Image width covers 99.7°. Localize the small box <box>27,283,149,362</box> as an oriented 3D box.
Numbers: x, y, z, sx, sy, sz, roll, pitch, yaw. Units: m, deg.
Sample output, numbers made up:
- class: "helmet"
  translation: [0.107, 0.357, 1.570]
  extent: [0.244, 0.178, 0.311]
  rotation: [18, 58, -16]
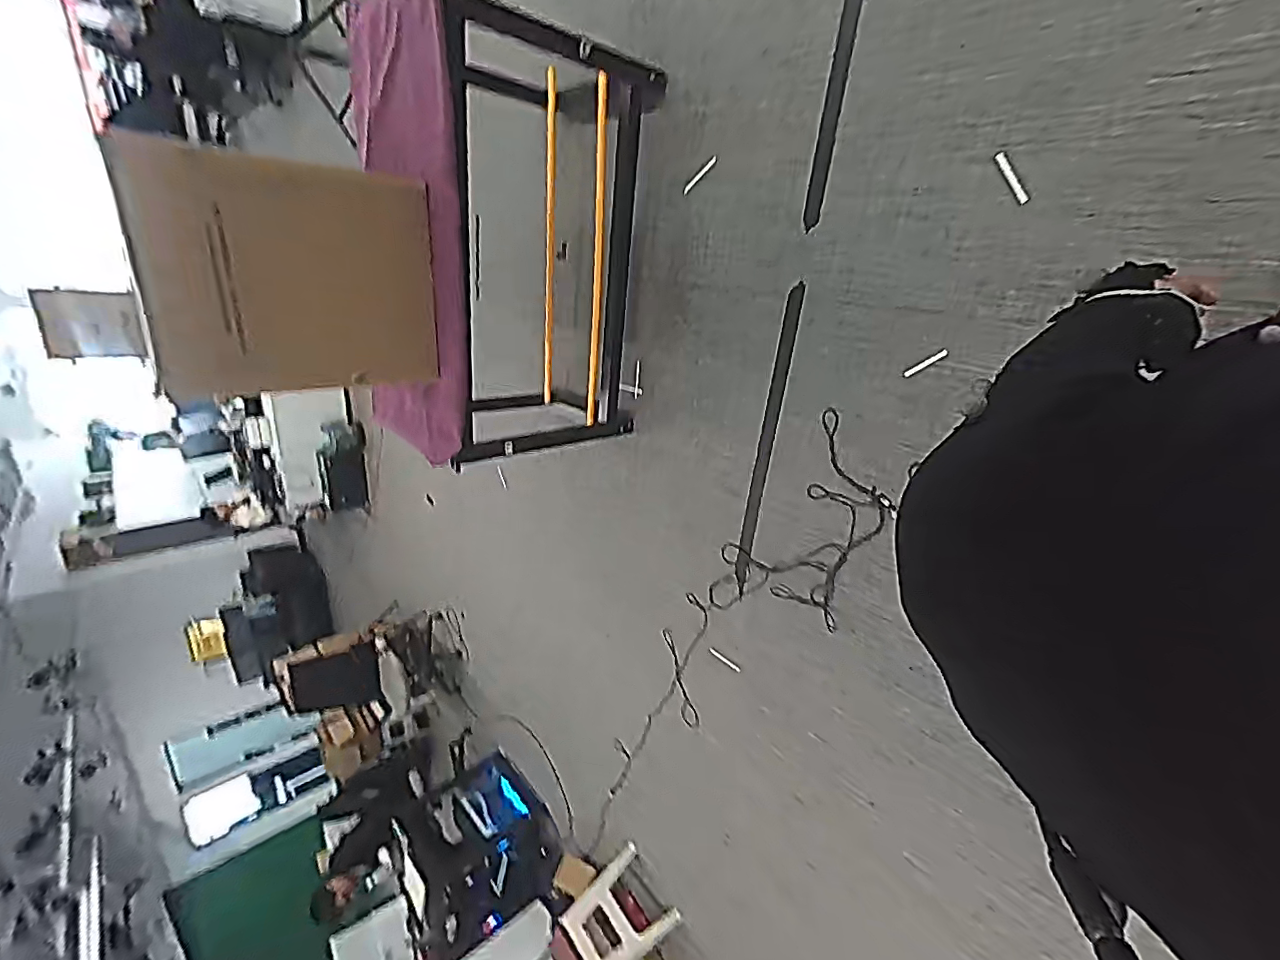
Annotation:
- class: "small box"
  translation: [-1.277, -0.368, 1.263]
  extent: [0.179, 0.176, 0.168]
  rotation: [16, 112, 45]
